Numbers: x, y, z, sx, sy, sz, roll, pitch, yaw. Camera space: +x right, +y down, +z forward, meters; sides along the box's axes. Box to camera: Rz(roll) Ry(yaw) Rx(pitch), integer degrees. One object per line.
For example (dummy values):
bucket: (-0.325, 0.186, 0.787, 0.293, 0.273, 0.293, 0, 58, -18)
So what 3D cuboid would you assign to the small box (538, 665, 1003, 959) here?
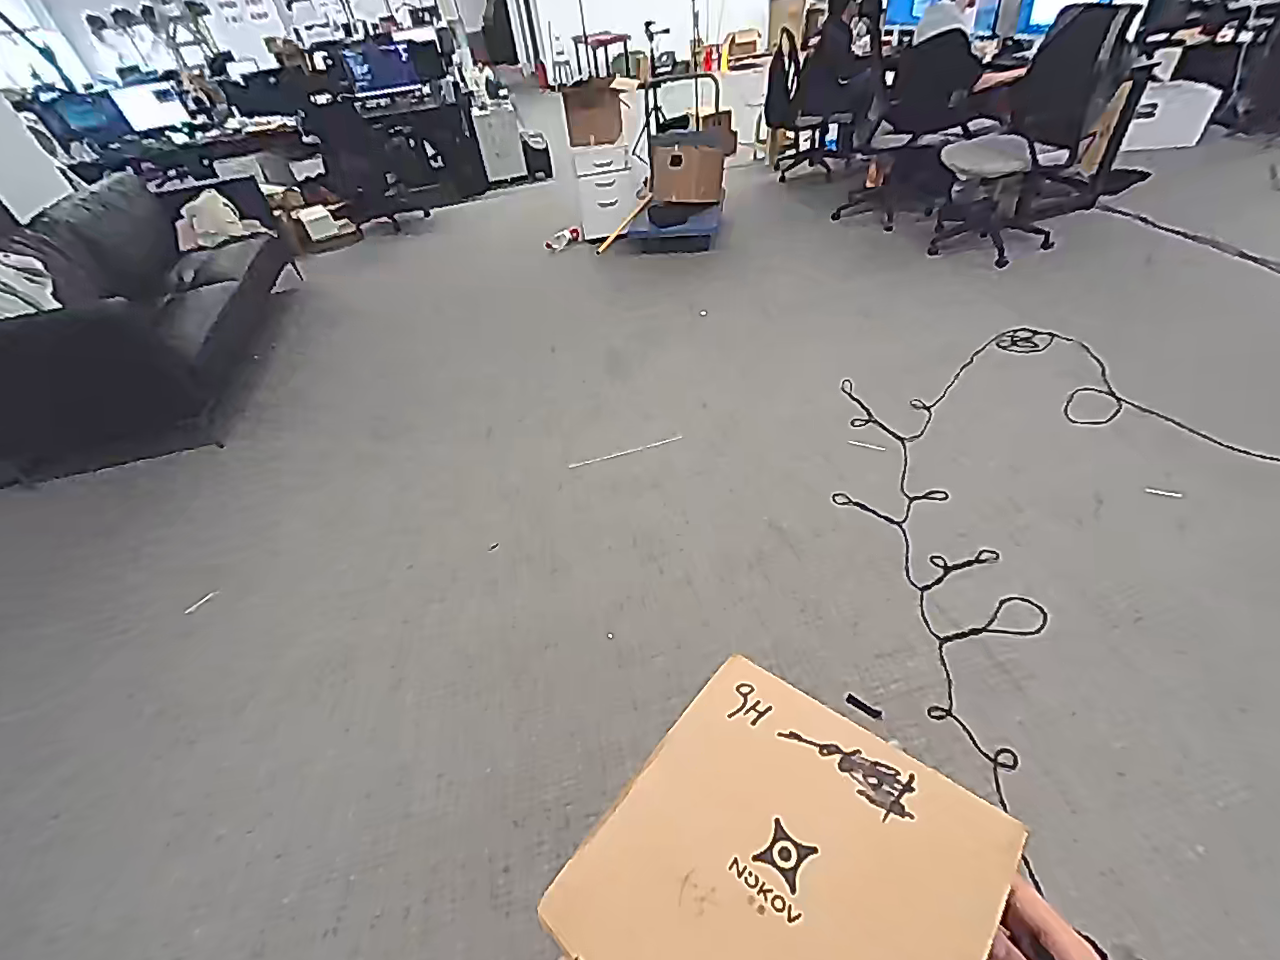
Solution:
small box: (0.078, 0.256, 0.314, 0.168, 0.176, 0.179, 22, 50, 38)
